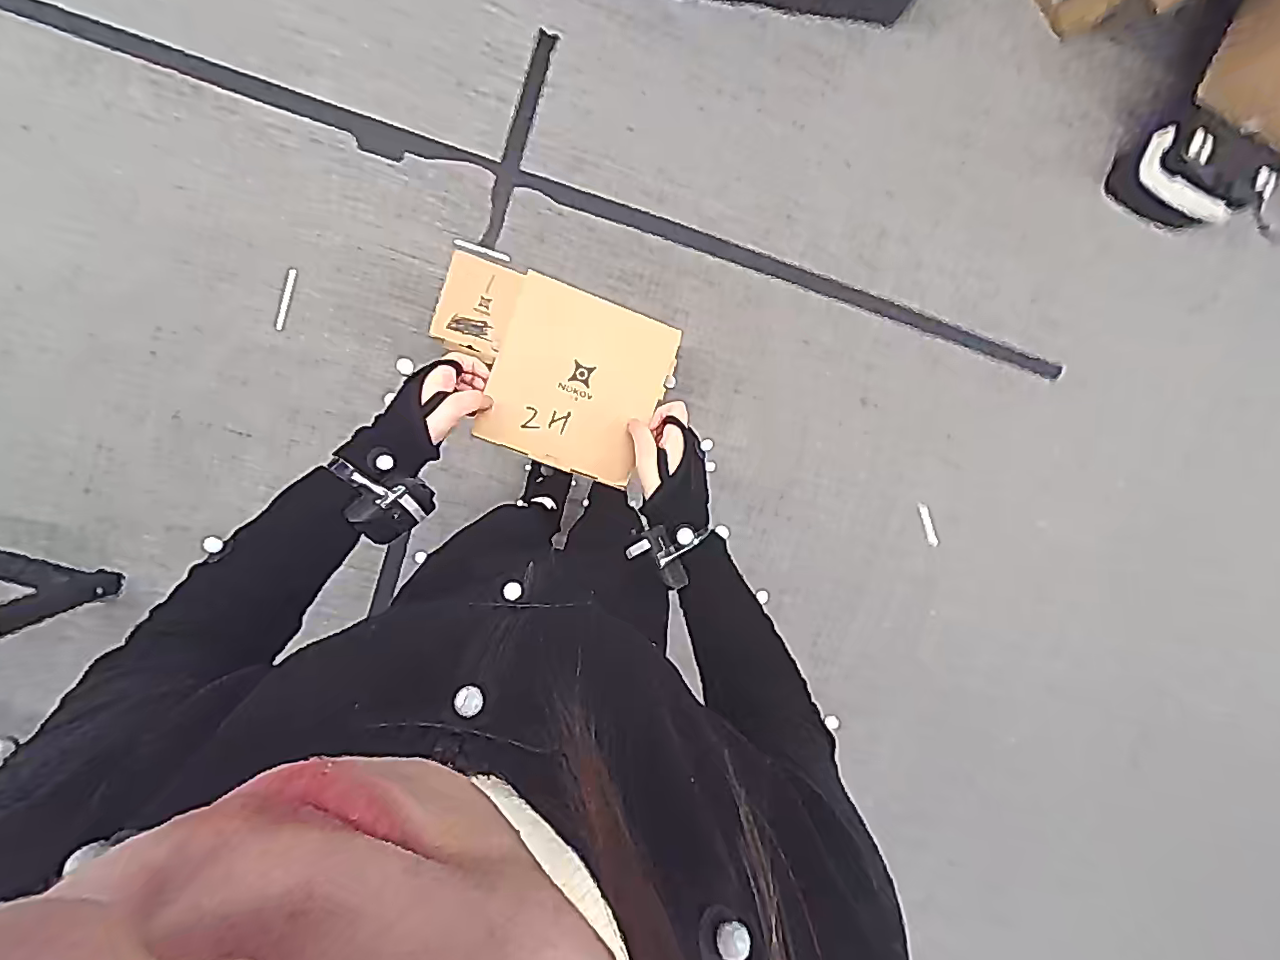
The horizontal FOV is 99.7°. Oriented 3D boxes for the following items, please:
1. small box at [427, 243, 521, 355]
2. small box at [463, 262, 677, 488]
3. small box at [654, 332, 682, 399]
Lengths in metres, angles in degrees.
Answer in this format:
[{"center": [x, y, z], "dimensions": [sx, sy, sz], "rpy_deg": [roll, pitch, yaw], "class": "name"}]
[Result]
[{"center": [-0.318, -0.357, 1.129], "dimensions": [0.168, 0.176, 0.179], "rpy_deg": [19, 95, -9], "class": "small box"}, {"center": [-0.078, -0.104, 0.604], "dimensions": [0.168, 0.176, 0.179], "rpy_deg": [20, 90, -9], "class": "small box"}, {"center": [-0.017, -0.305, 1.333], "dimensions": [0.179, 0.176, 0.168], "rpy_deg": [17, 96, -9], "class": "small box"}]
